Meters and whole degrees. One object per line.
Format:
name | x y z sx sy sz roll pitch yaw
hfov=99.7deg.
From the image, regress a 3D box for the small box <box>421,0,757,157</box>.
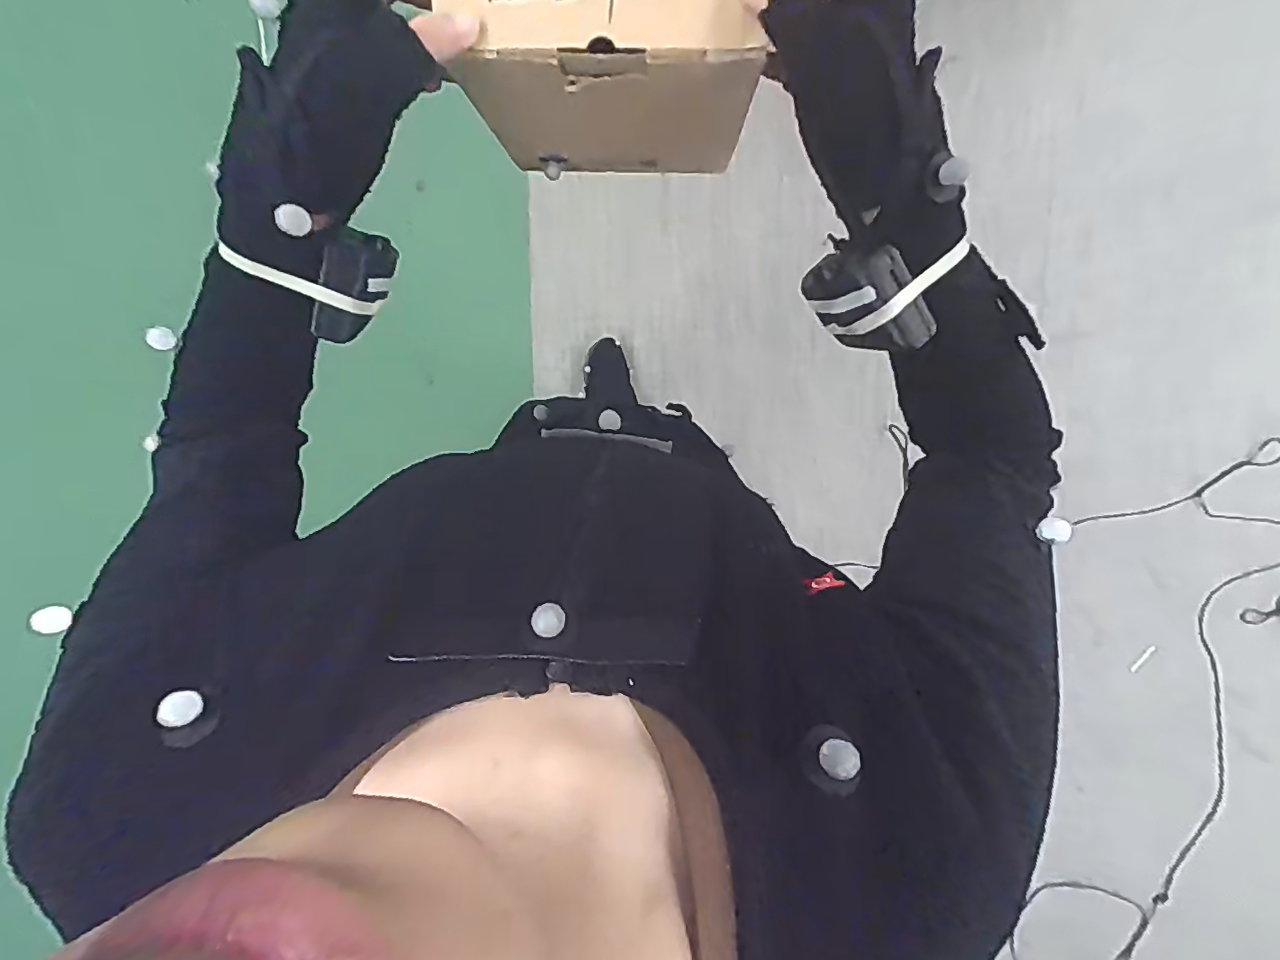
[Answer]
small box | -0.019 -0.314 0.320 0.168 0.176 0.179 2 102 1
